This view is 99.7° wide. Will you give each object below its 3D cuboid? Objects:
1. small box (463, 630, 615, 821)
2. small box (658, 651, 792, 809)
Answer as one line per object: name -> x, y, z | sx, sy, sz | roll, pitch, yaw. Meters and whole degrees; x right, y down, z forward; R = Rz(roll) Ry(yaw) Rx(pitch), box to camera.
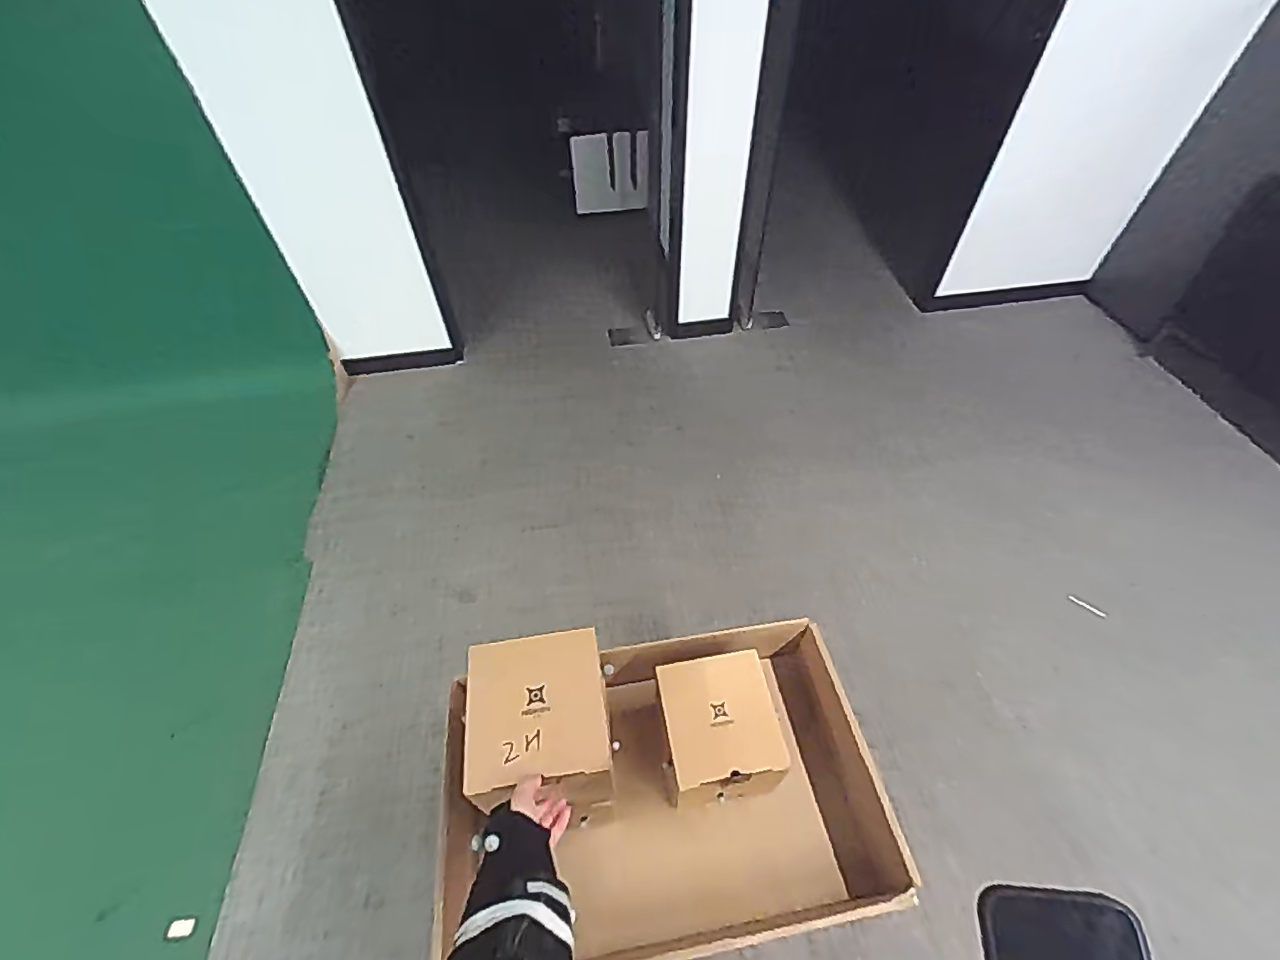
small box -> -0.126, 0.324, 0.714 | 0.168, 0.176, 0.179 | -8, 51, -5
small box -> 0.121, 0.398, 0.860 | 0.168, 0.176, 0.179 | -9, 51, -4
